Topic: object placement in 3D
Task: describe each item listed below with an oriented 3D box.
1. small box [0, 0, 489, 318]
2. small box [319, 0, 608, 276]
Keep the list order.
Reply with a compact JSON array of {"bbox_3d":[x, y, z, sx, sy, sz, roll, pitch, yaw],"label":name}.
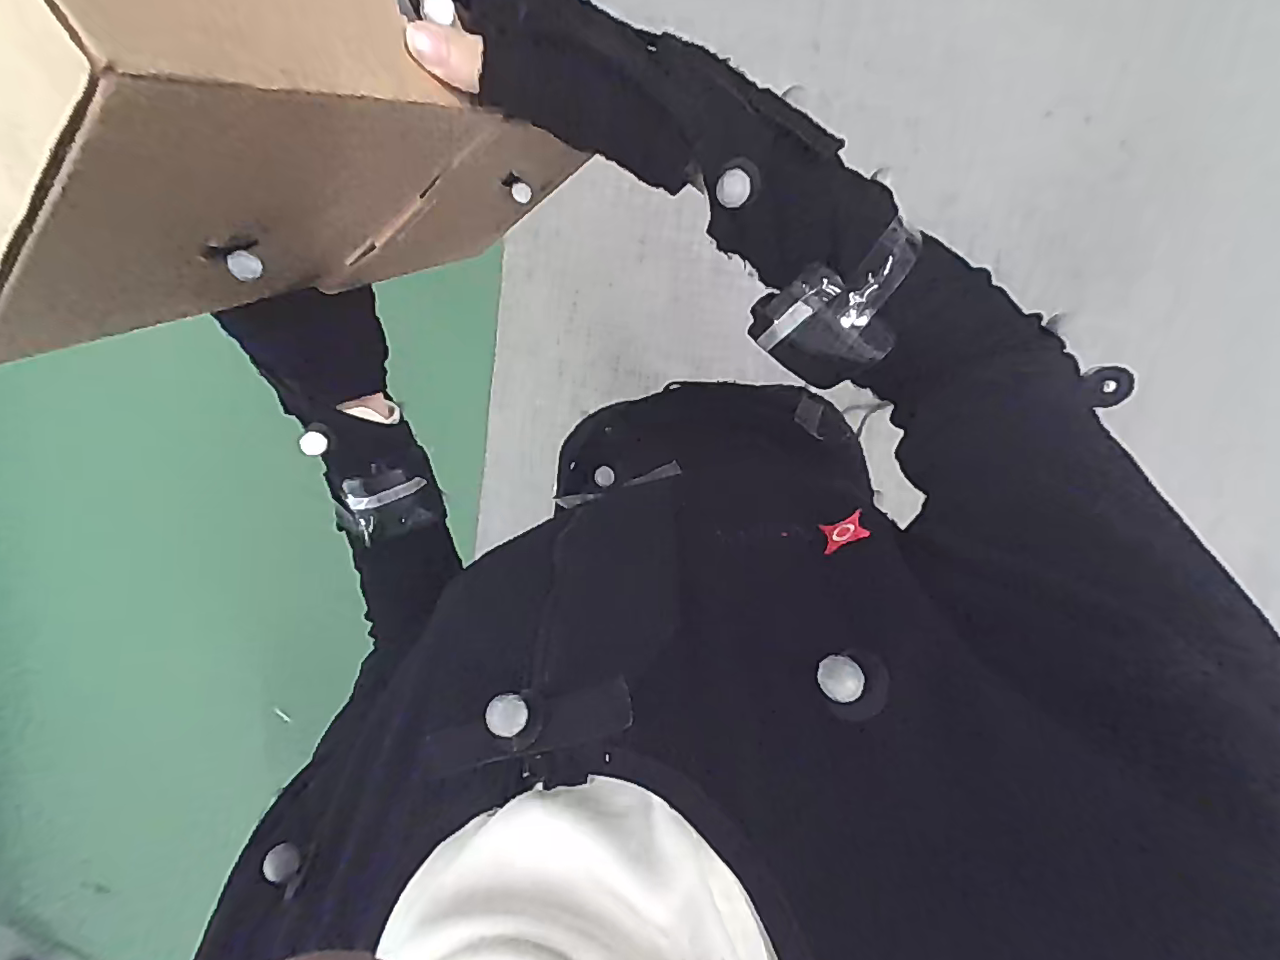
[{"bbox_3d":[-0.190,-0.194,0.223,0.179,0.176,0.168,-17,110,31],"label":"small box"},{"bbox_3d":[-0.148,-0.263,0.347,0.168,0.176,0.179,-21,107,31],"label":"small box"}]
